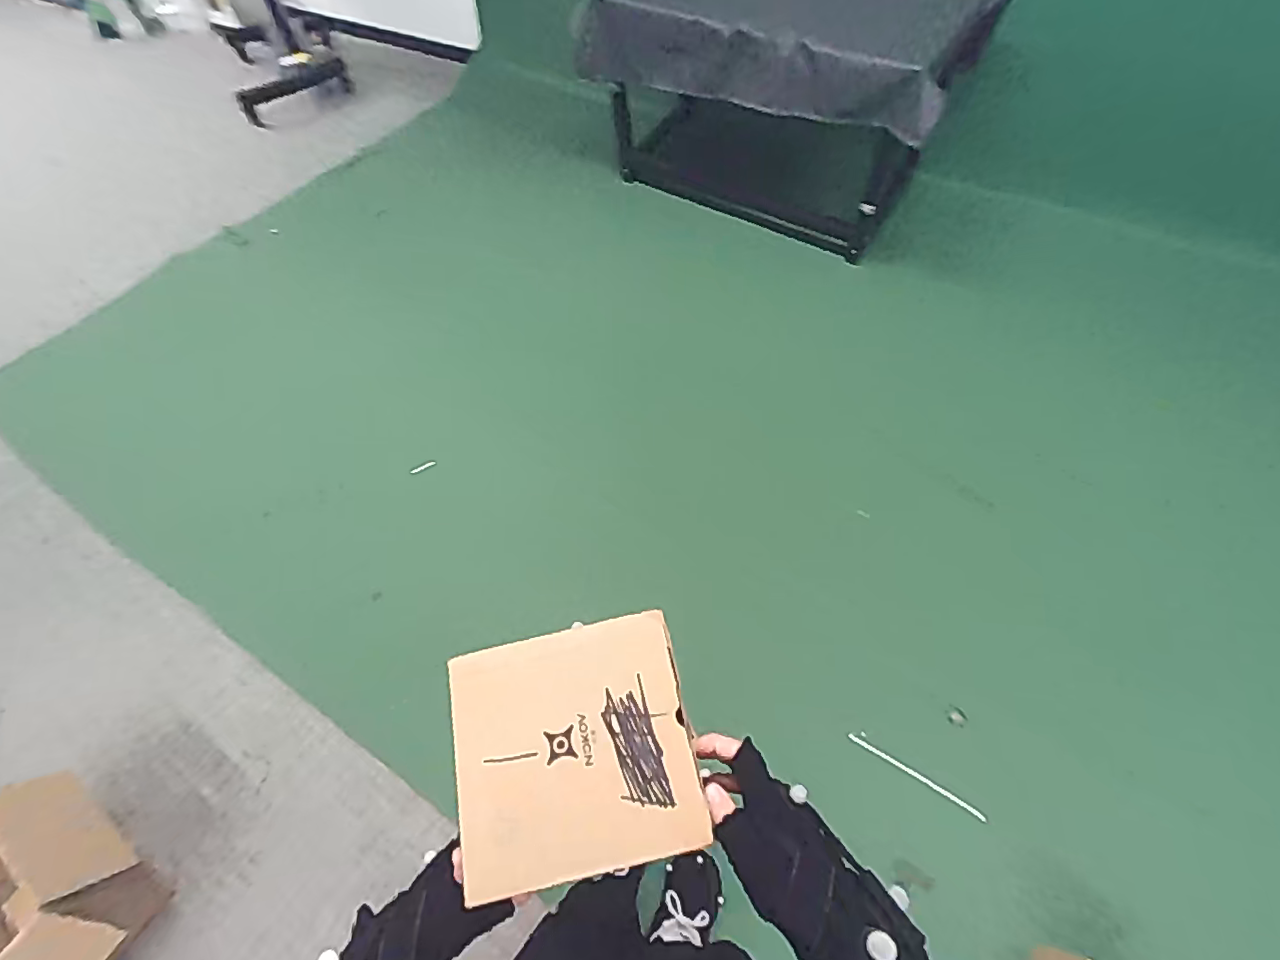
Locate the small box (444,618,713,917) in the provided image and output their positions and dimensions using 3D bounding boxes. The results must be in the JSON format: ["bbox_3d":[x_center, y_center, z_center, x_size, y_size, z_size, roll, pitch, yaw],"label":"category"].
[{"bbox_3d":[-0.048,0.231,0.465,0.179,0.176,0.168,-13,64,-3],"label":"small box"}]
